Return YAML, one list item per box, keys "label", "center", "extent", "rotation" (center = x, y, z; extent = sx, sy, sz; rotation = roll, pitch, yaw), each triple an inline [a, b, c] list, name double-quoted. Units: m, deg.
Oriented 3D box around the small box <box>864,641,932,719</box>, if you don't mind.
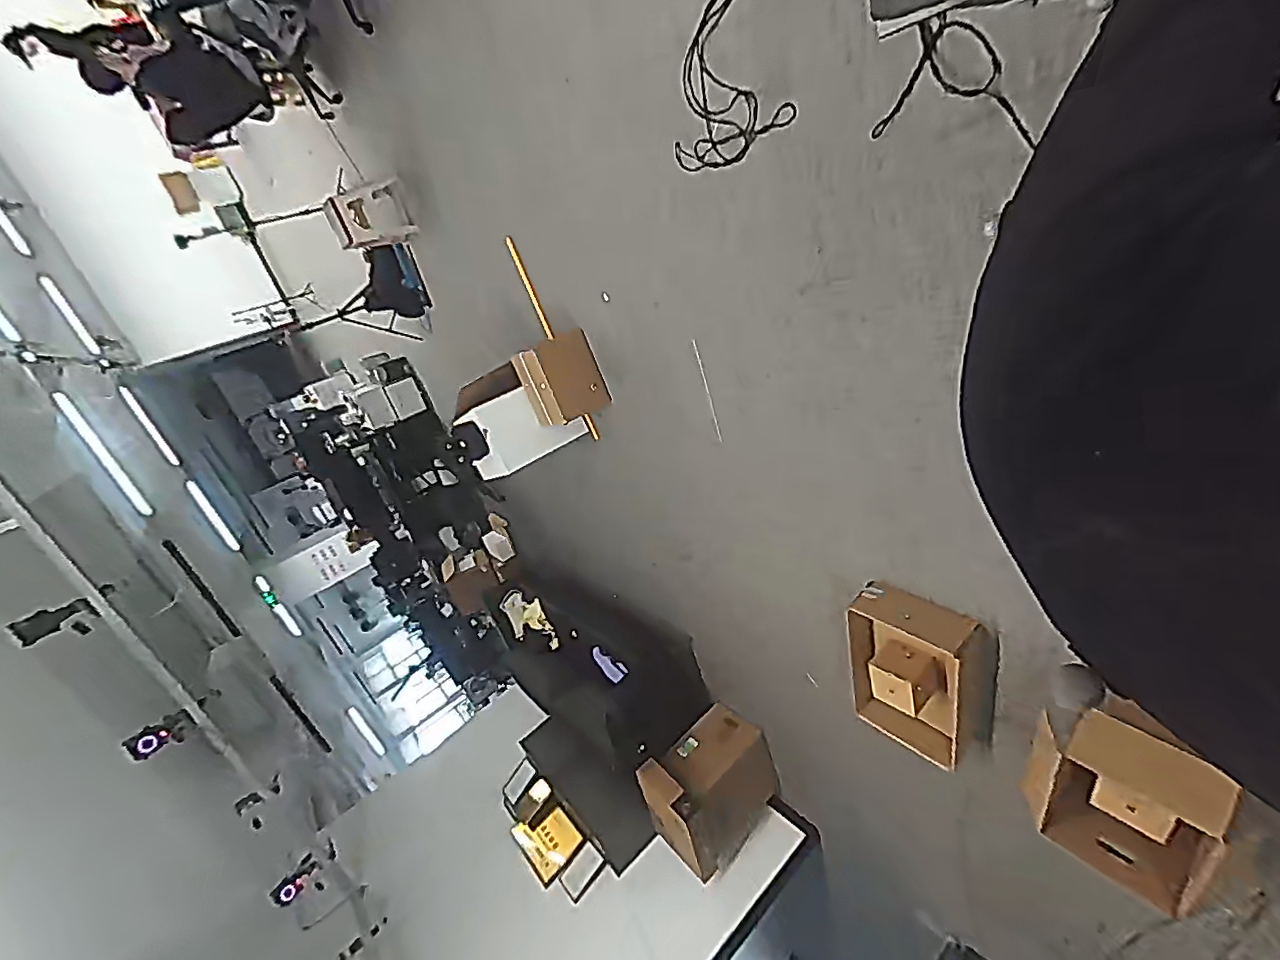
- label: "small box"
  center: [0.966, 0.740, 2.014]
  extent: [0.168, 0.176, 0.179]
  rotation: [15, 130, 52]
